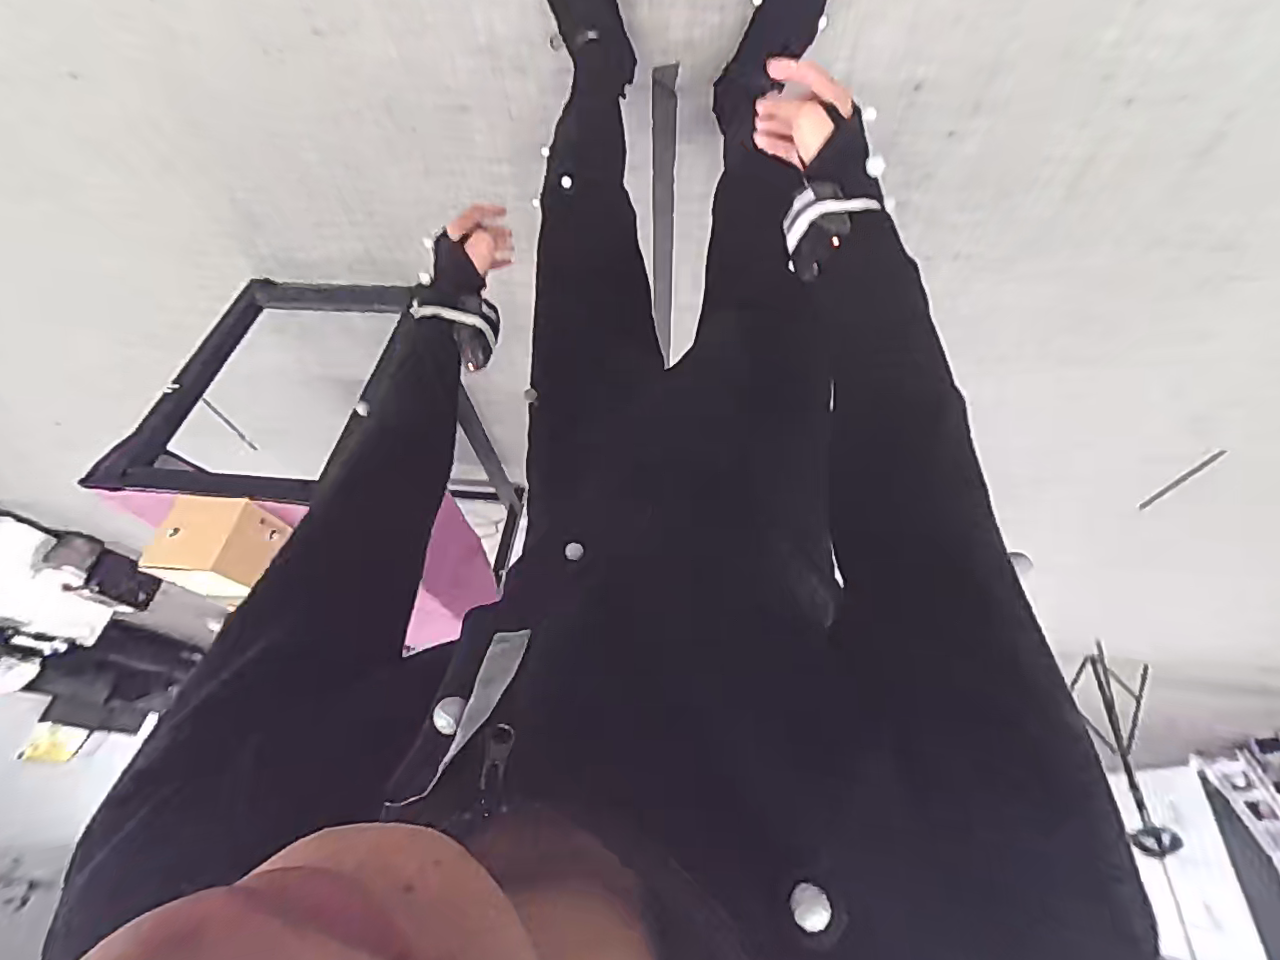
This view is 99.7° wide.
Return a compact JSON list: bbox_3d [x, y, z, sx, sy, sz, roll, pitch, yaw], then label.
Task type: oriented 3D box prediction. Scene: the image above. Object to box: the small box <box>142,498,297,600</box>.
[{"bbox_3d":[-0.912,0.151,1.192,0.179,0.176,0.168,2,150,10],"label":"small box"}]
